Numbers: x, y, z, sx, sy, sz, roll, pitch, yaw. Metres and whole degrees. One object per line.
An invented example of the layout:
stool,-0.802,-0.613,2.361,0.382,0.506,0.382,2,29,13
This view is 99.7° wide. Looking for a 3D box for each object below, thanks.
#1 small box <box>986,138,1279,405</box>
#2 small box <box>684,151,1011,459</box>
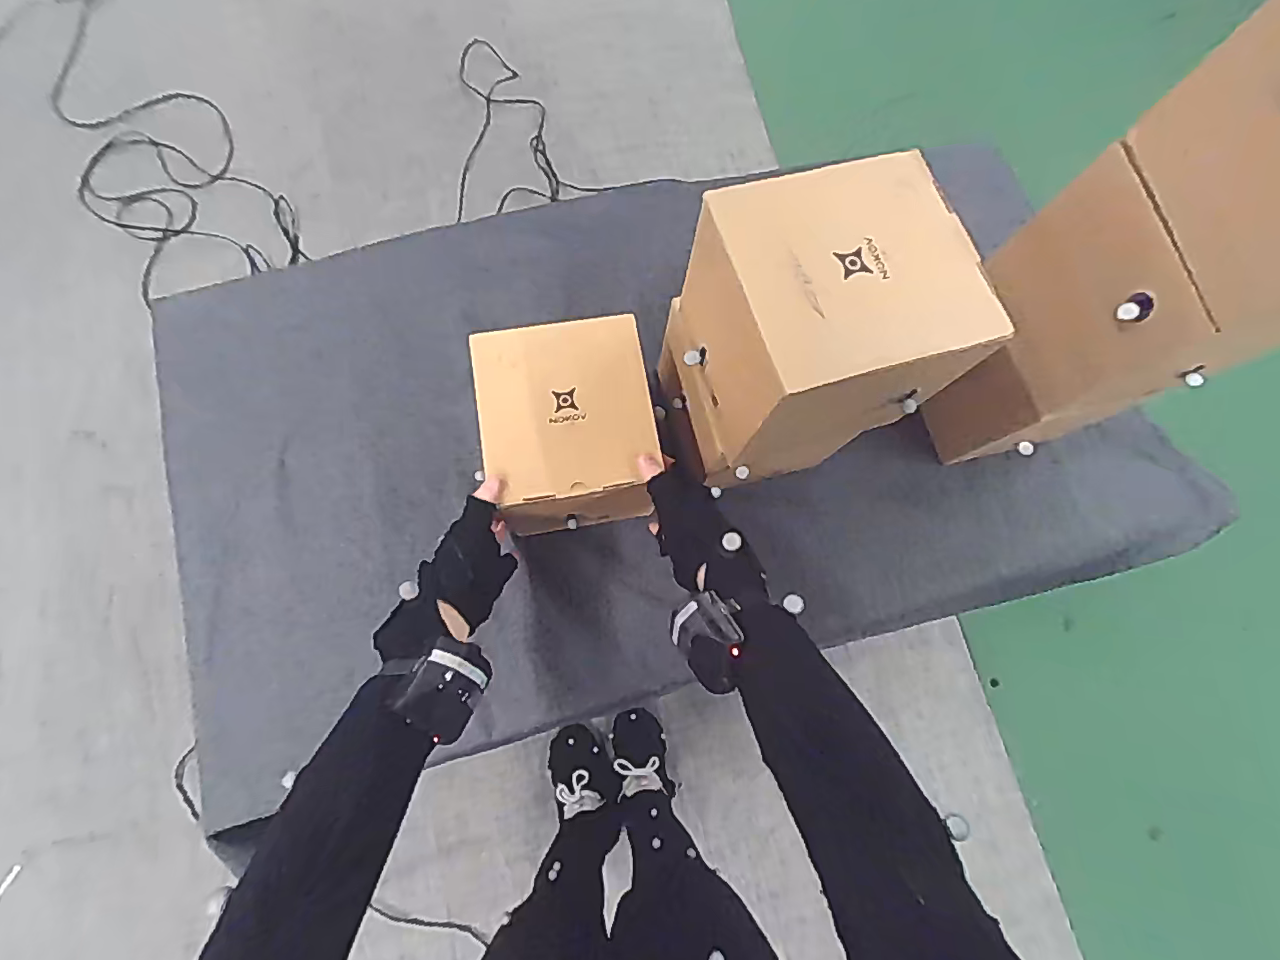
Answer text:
small box,0.466,-0.180,0.492,0.168,0.176,0.179,-11,76,-6
small box,0.150,-0.134,0.460,0.179,0.176,0.168,-15,76,-7
